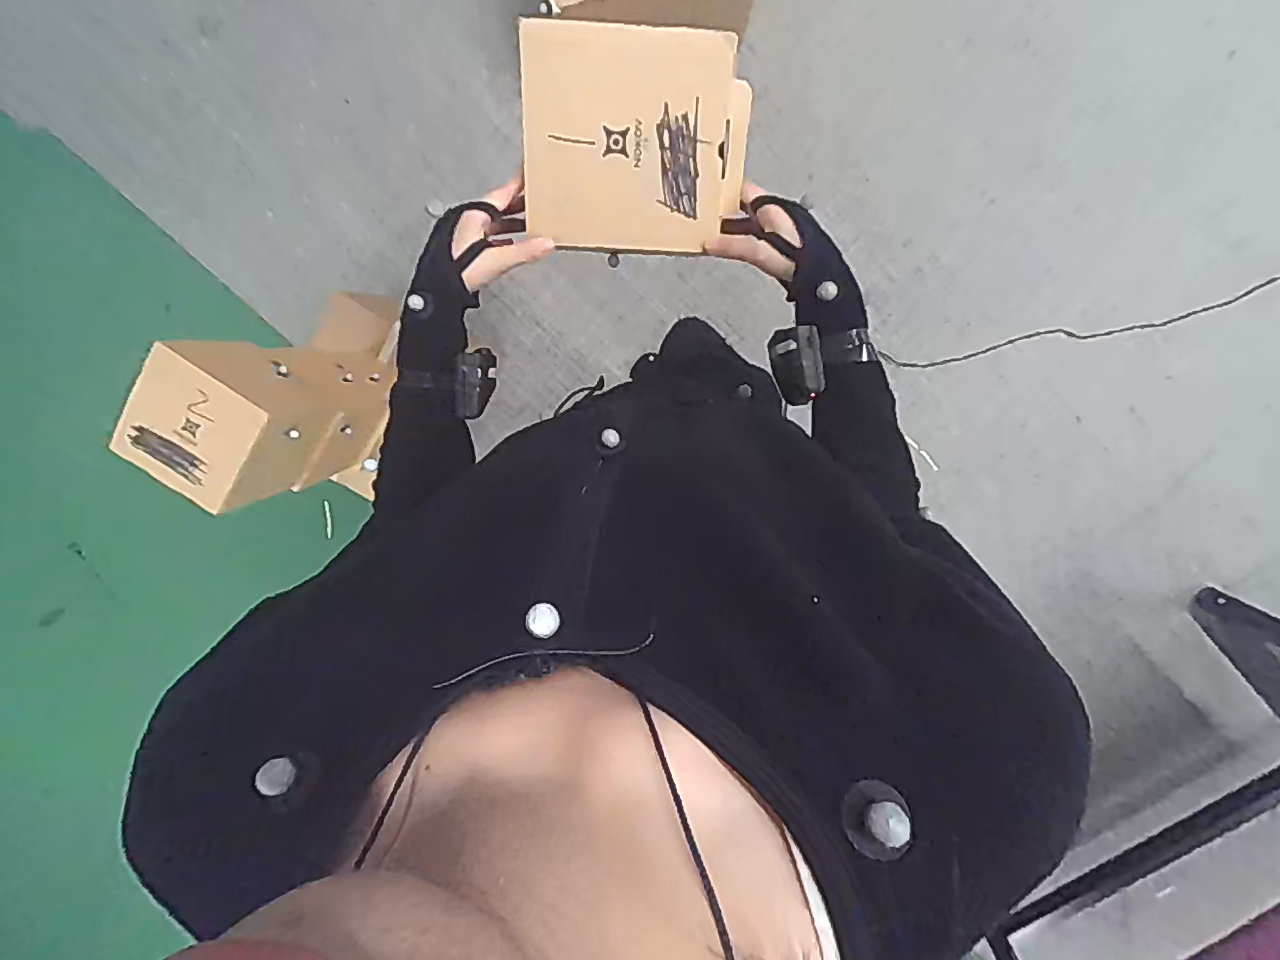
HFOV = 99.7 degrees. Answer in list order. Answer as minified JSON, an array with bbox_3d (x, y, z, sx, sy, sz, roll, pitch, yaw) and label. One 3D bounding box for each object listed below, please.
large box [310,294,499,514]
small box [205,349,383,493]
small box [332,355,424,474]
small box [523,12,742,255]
[{"bbox_3d":[-0.605,-0.198,1.342,0.320,0.320,0.408,30,105,-4],"label":"large box"},{"bbox_3d":[-0.587,-0.108,0.943,0.168,0.176,0.179,36,102,-7],"label":"small box"},{"bbox_3d":[-0.577,-0.142,1.101,0.179,0.176,0.168,35,103,-7],"label":"small box"},{"bbox_3d":[-0.013,-0.313,0.527,0.179,0.176,0.168,2,111,-3],"label":"small box"}]
